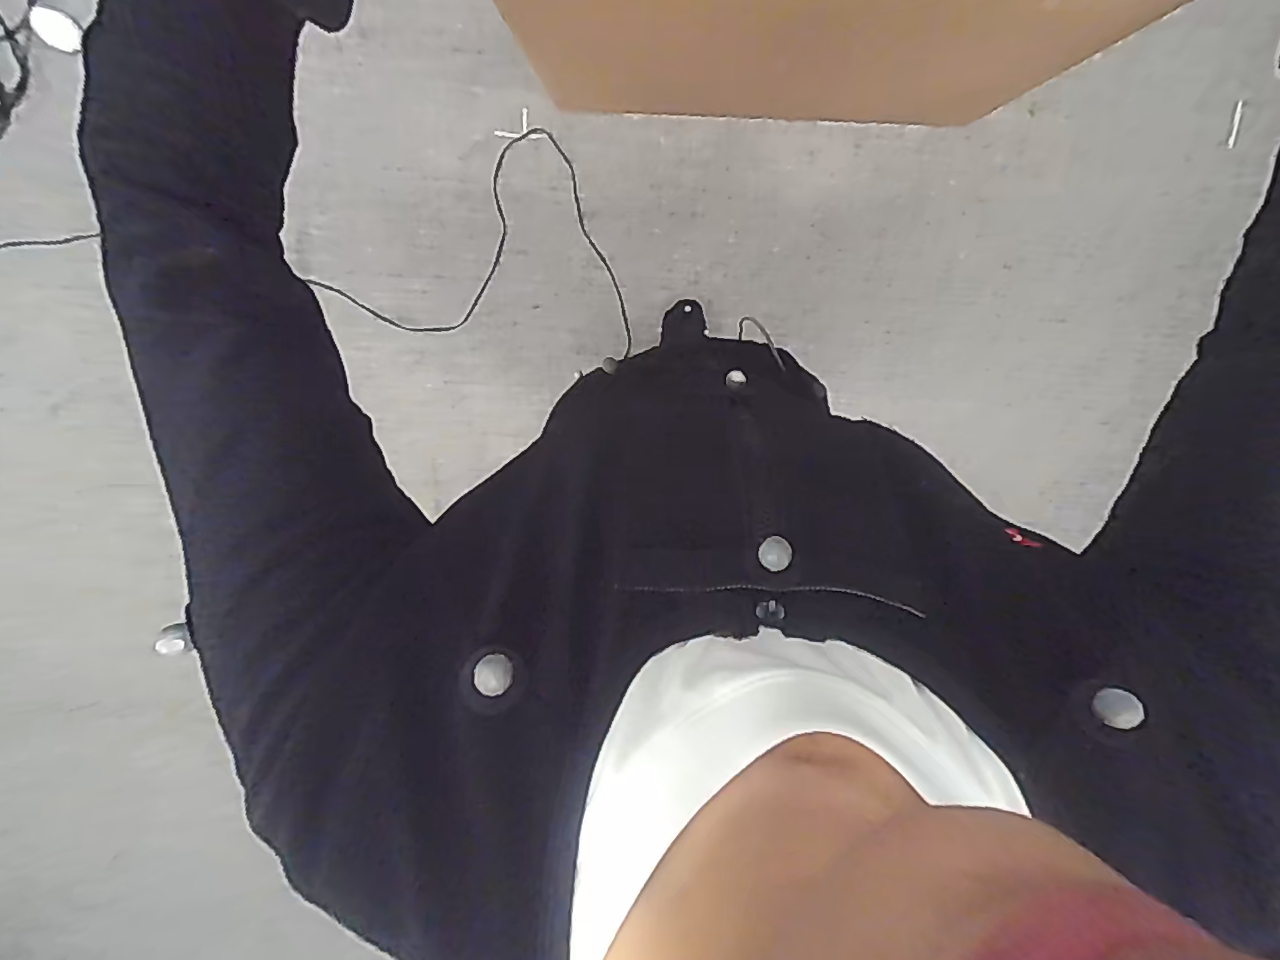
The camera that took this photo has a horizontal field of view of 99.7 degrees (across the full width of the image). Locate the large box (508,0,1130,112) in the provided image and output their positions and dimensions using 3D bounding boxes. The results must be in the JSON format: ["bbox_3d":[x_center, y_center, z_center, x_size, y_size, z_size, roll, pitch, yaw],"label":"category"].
[{"bbox_3d":[0.114,-0.457,0.338,0.408,0.320,0.320,2,110,2],"label":"large box"}]
